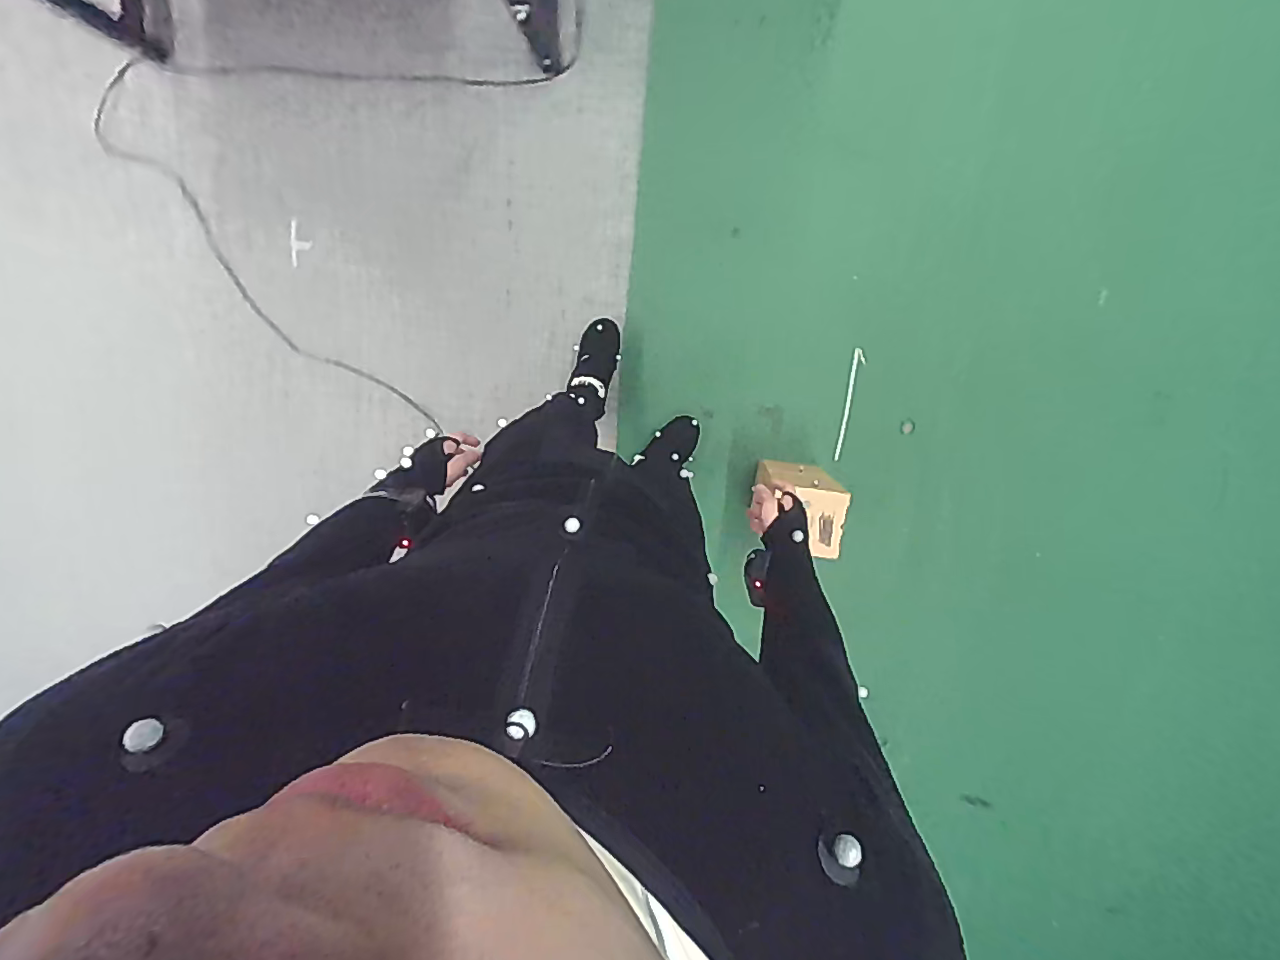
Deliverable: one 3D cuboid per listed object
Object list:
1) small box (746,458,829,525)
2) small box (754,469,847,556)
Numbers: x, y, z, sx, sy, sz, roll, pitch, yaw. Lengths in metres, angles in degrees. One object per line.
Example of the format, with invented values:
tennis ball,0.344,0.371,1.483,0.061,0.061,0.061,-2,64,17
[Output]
small box,0.407,0.038,1.516,0.179,0.176,0.168,8,103,3
small box,0.394,0.075,1.357,0.179,0.176,0.168,8,103,3
